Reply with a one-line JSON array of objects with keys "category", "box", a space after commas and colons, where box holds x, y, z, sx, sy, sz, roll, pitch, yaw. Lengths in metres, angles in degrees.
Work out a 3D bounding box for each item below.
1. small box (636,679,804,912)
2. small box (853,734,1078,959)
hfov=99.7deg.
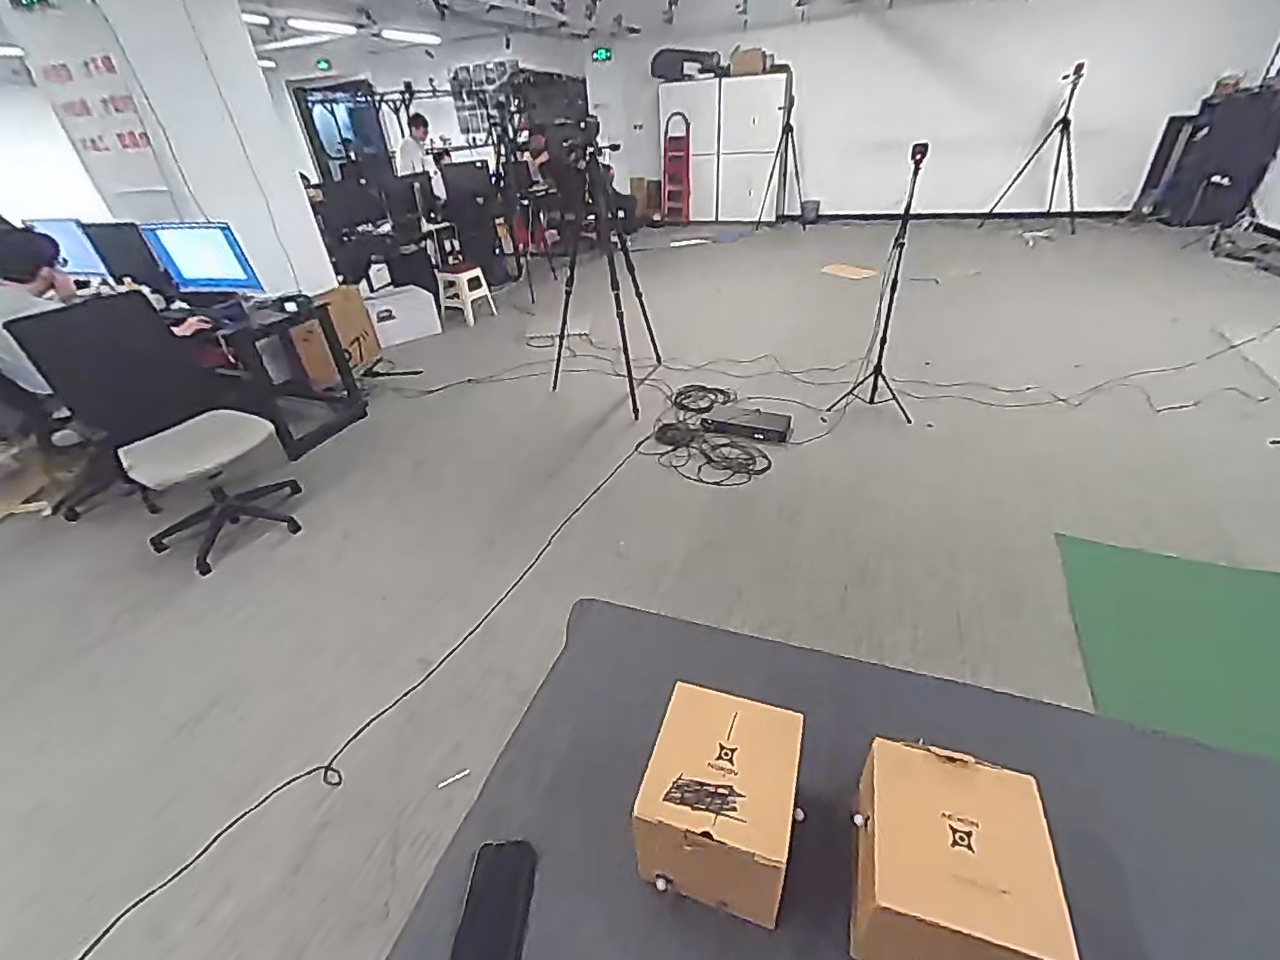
[{"category": "small box", "box": [0.105, 0.390, 0.677, 0.168, 0.176, 0.179, 9, 35, 18]}, {"category": "small box", "box": [0.336, 0.427, 0.603, 0.168, 0.176, 0.179, 7, 37, 18]}]
